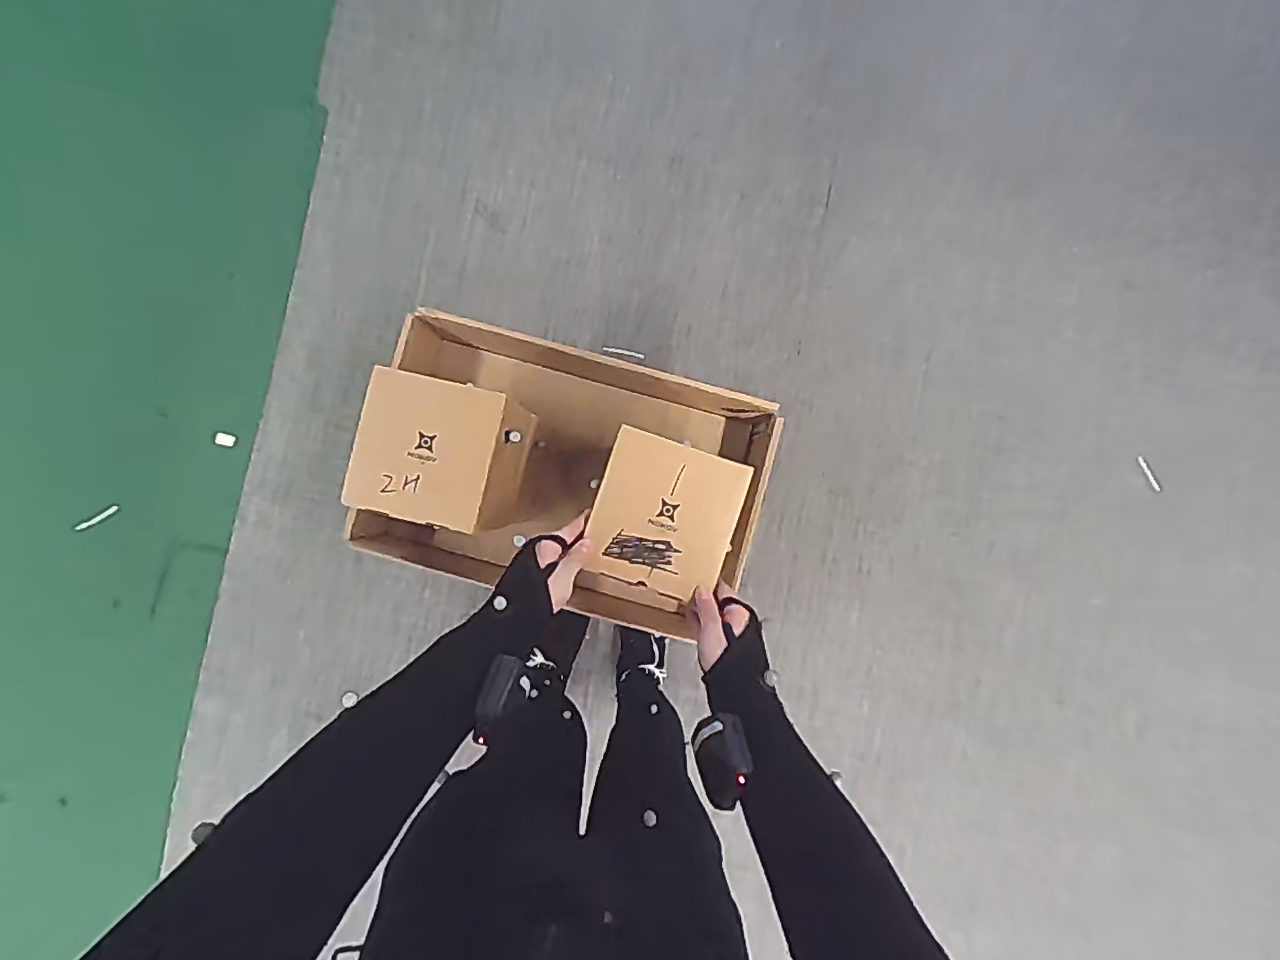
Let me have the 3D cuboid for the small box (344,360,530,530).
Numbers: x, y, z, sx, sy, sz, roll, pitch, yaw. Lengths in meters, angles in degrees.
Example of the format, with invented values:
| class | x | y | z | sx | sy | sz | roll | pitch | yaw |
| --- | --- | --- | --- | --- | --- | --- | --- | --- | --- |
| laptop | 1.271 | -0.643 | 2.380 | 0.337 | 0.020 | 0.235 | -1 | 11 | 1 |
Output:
| class | x | y | z | sx | sy | sz | roll | pitch | yaw |
| --- | --- | --- | --- | --- | --- | --- | --- | --- | --- |
| small box | -0.255 | -0.039 | 0.725 | 0.168 | 0.176 | 0.179 | 13 | 88 | 0 |

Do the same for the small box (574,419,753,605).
| class | x | y | z | sx | sy | sz | roll | pitch | yaw |
| --- | --- | --- | --- | --- | --- | --- | --- | --- | --- |
| small box | 0.026 | 0.039 | 0.704 | 0.168 | 0.176 | 0.179 | 20 | 88 | -2 |
